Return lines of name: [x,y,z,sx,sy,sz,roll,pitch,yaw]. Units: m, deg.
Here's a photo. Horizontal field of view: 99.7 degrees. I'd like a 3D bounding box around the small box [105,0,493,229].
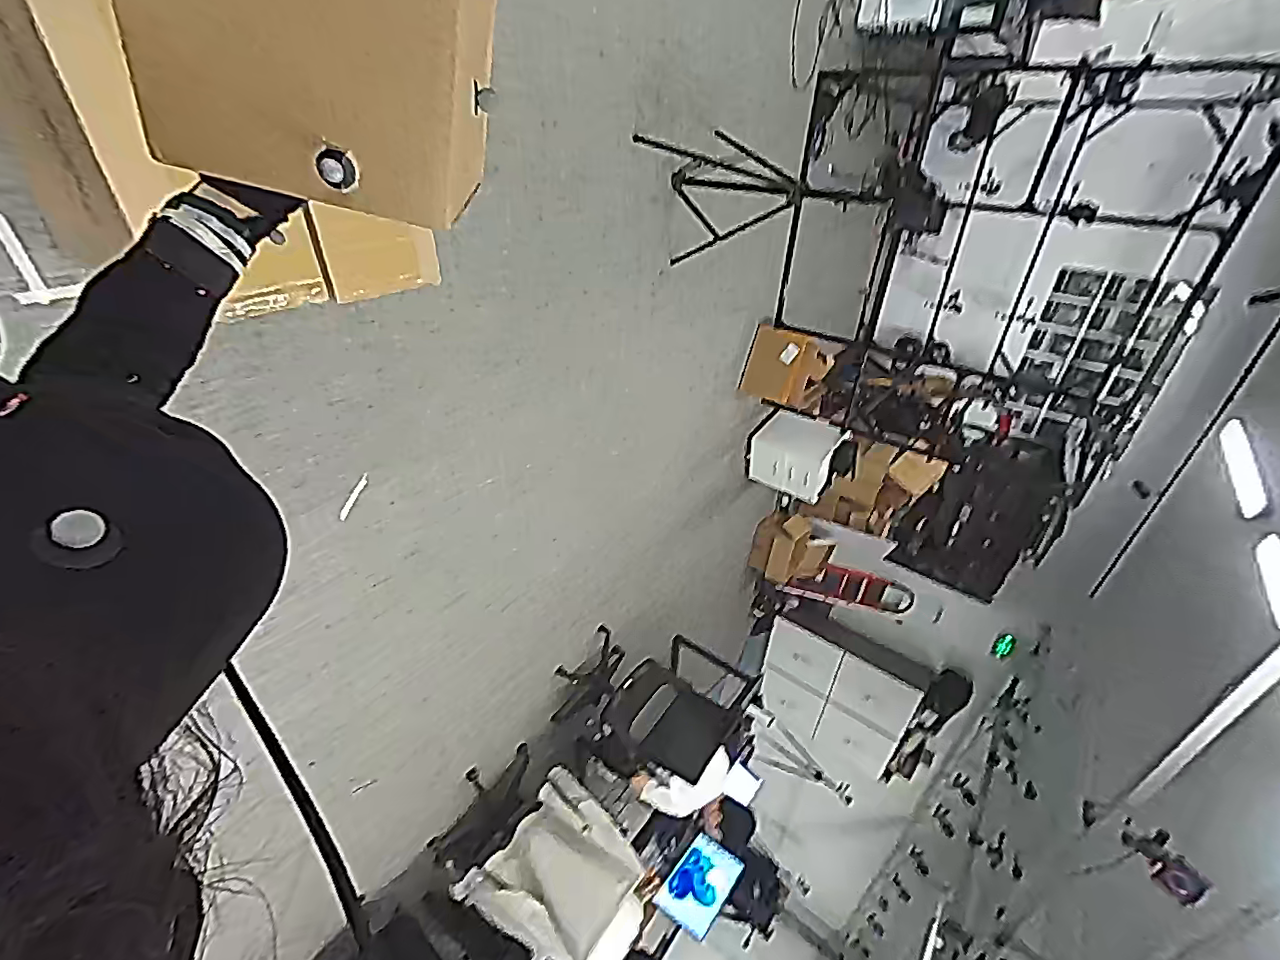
small box: [-0.186,-0.287,0.335,0.179,0.168,0.176,-98,-159,-49]
